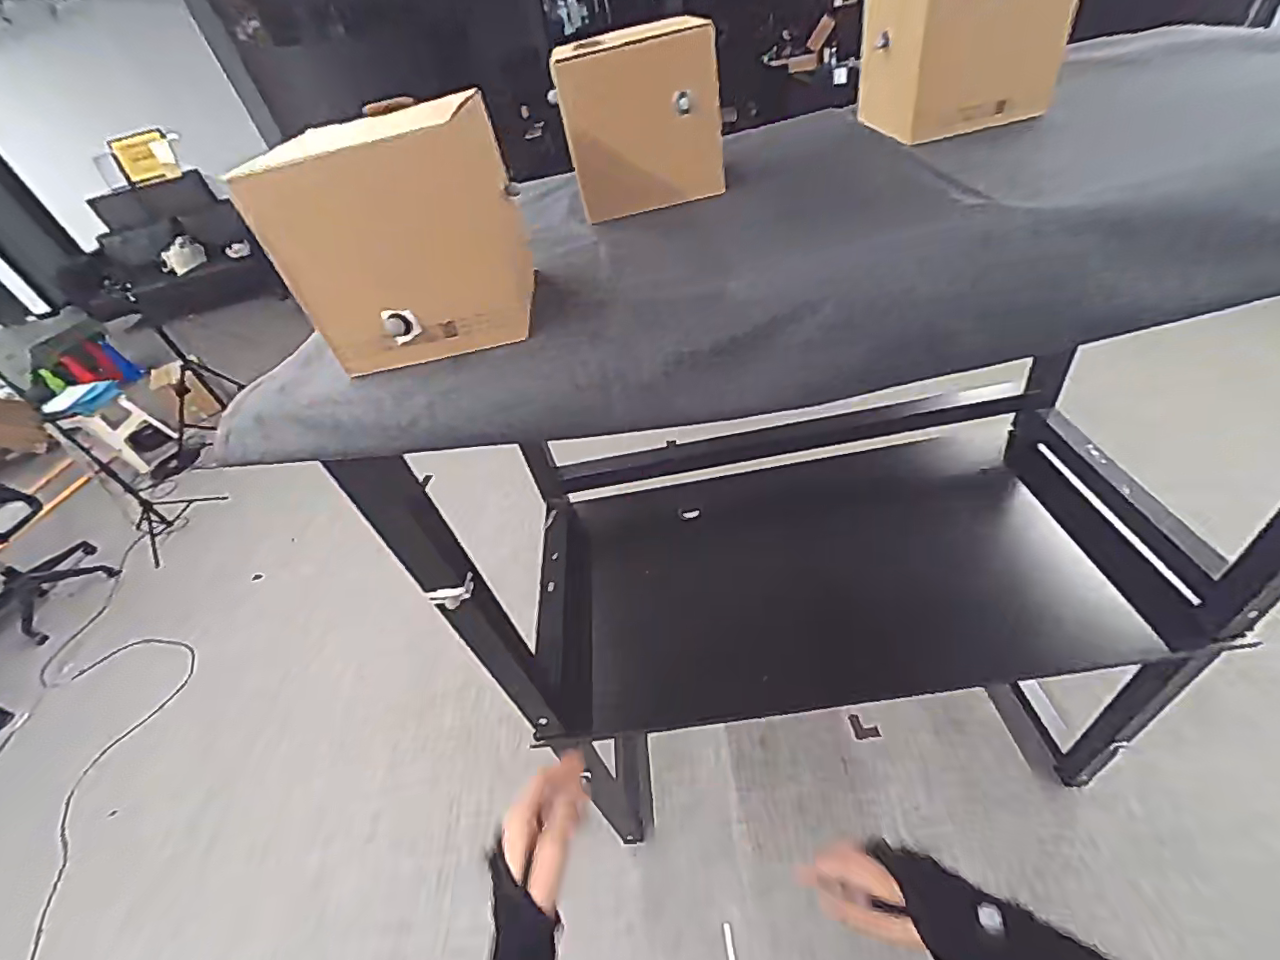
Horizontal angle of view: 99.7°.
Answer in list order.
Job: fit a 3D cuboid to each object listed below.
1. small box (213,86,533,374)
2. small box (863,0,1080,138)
[{"bbox_3d":[-0.199,-0.216,0.469,0.168,0.176,0.179,-13,41,3],"label":"small box"},{"bbox_3d":[0.383,-0.532,0.650,0.168,0.176,0.179,-11,41,4],"label":"small box"}]
